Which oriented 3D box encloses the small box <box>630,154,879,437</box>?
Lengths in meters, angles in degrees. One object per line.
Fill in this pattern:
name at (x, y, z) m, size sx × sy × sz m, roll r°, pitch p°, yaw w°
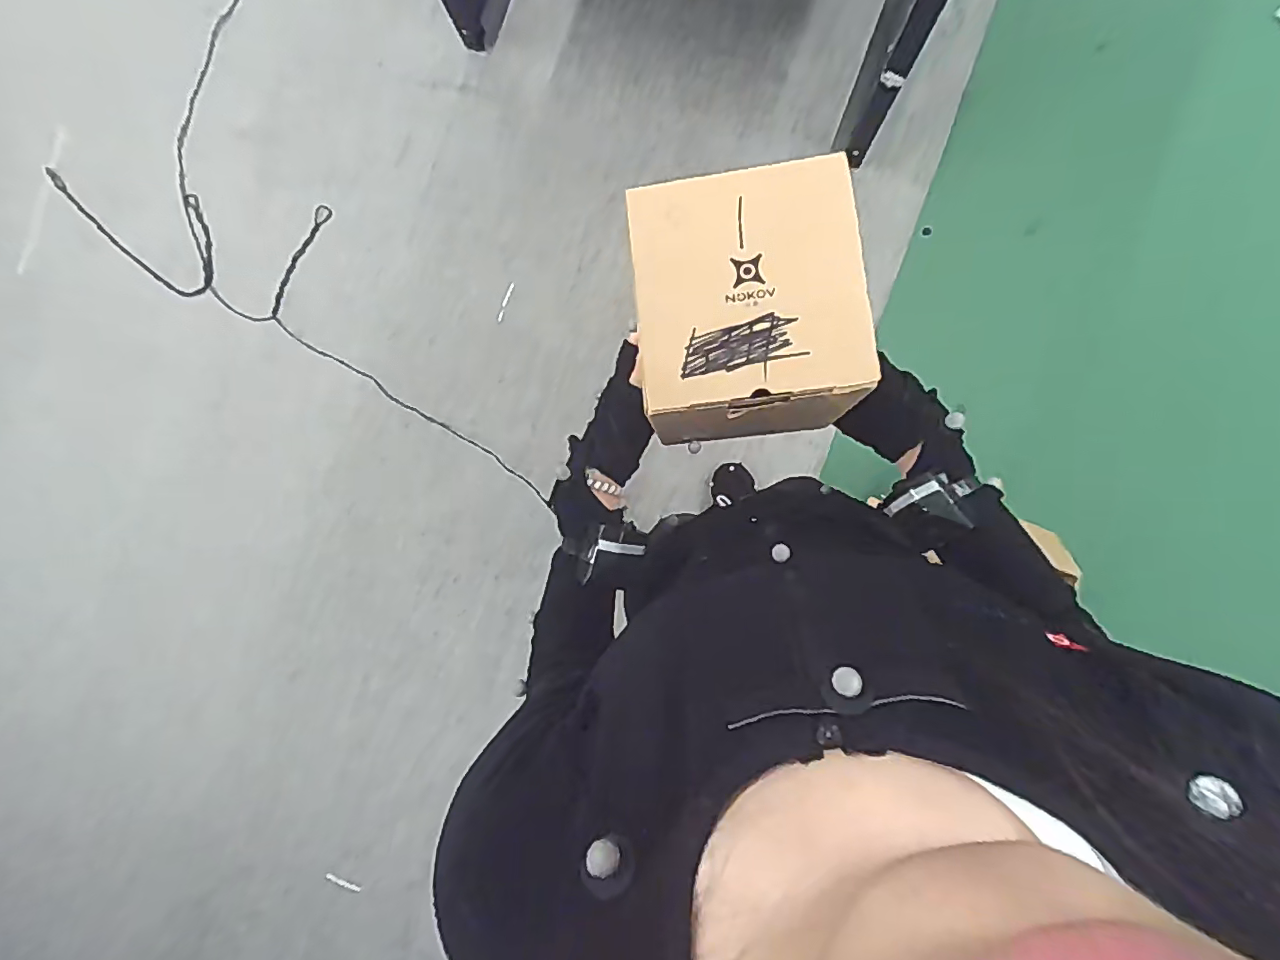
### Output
small box at (0.089, -0.137, 0.471) m, size 0.168 × 0.176 × 0.179 m, roll -6°, pitch 84°, yaw 6°
